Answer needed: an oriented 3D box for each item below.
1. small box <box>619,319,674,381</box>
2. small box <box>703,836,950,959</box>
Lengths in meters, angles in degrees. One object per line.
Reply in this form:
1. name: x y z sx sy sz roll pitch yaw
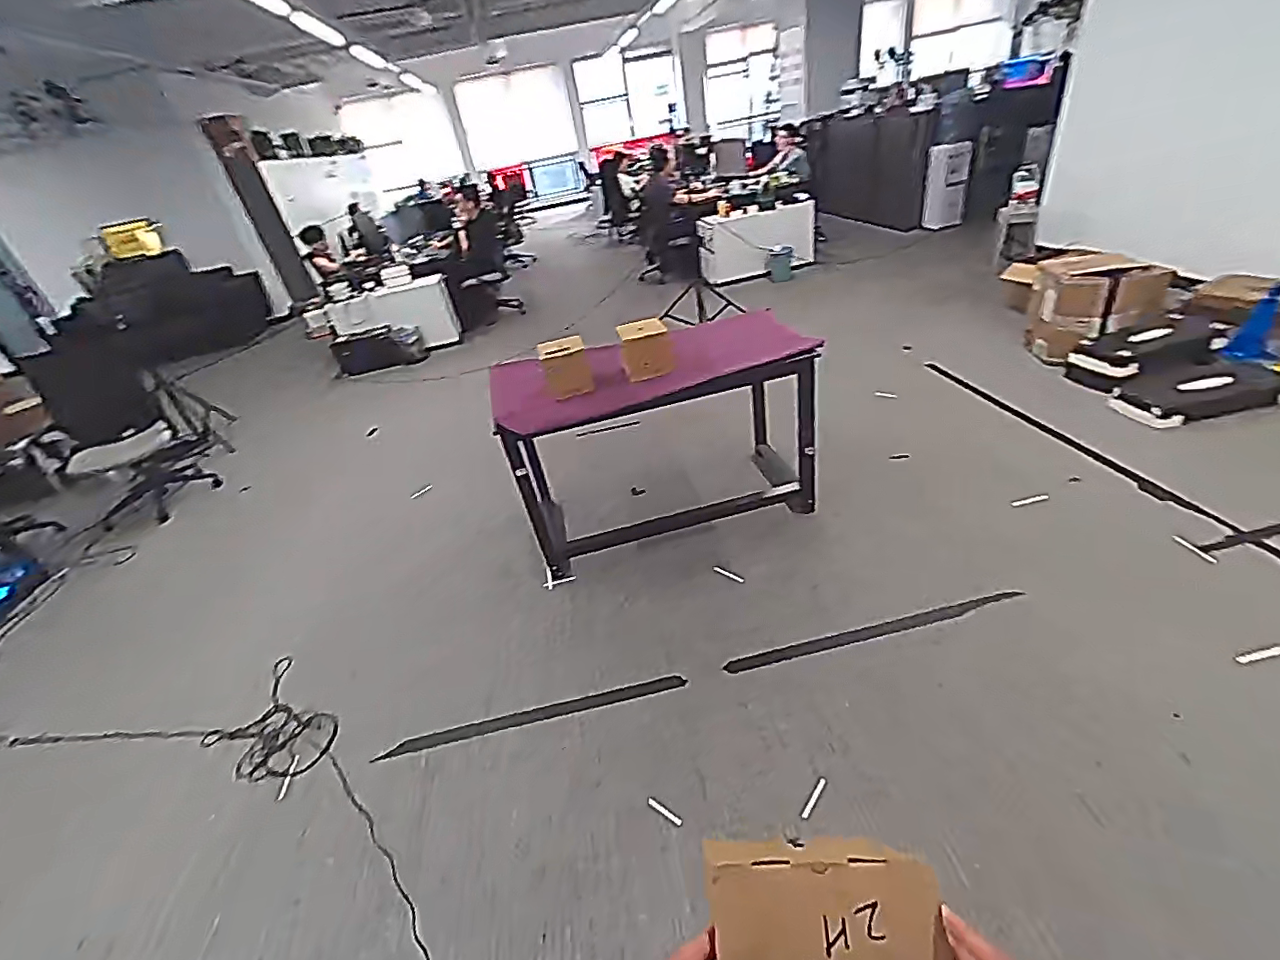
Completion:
1. small box: 0.024 -0.494 2.059 0.168 0.176 0.179 -14 34 -4
2. small box: 0.141 0.399 0.436 0.168 0.176 0.179 -3 60 2
